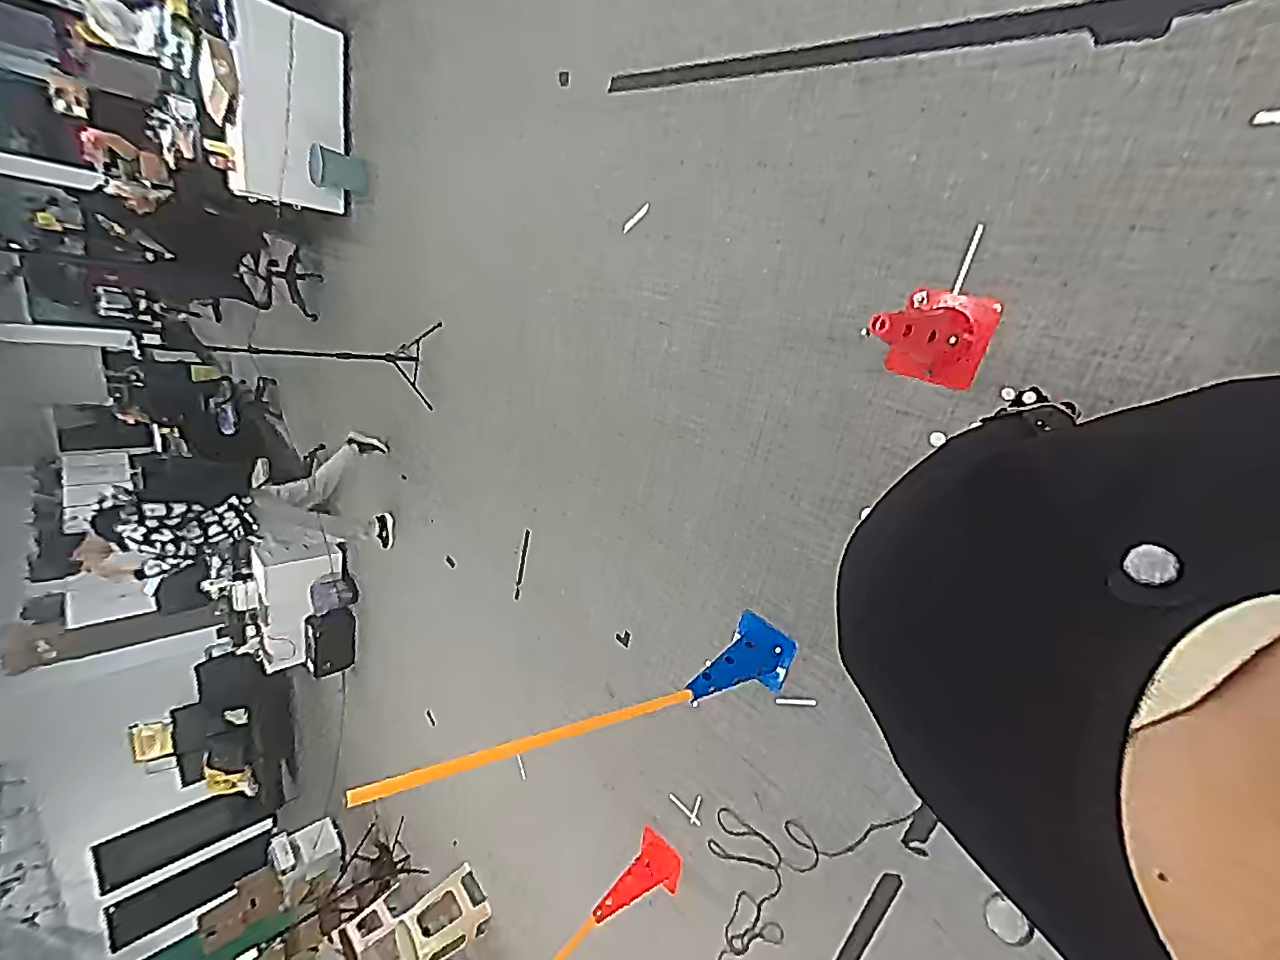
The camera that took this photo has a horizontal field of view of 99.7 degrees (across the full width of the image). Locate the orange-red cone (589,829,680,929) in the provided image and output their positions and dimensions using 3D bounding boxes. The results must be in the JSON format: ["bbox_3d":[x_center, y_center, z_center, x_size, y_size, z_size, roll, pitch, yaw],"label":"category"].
[{"bbox_3d":[-0.043,1.538,2.023,0.199,0.360,0.198,22,112,40],"label":"orange-red cone"}]

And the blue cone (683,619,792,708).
[{"bbox_3d":[0.264,0.566,1.581,0.193,0.380,0.192,32,119,38],"label":"blue cone"}]
